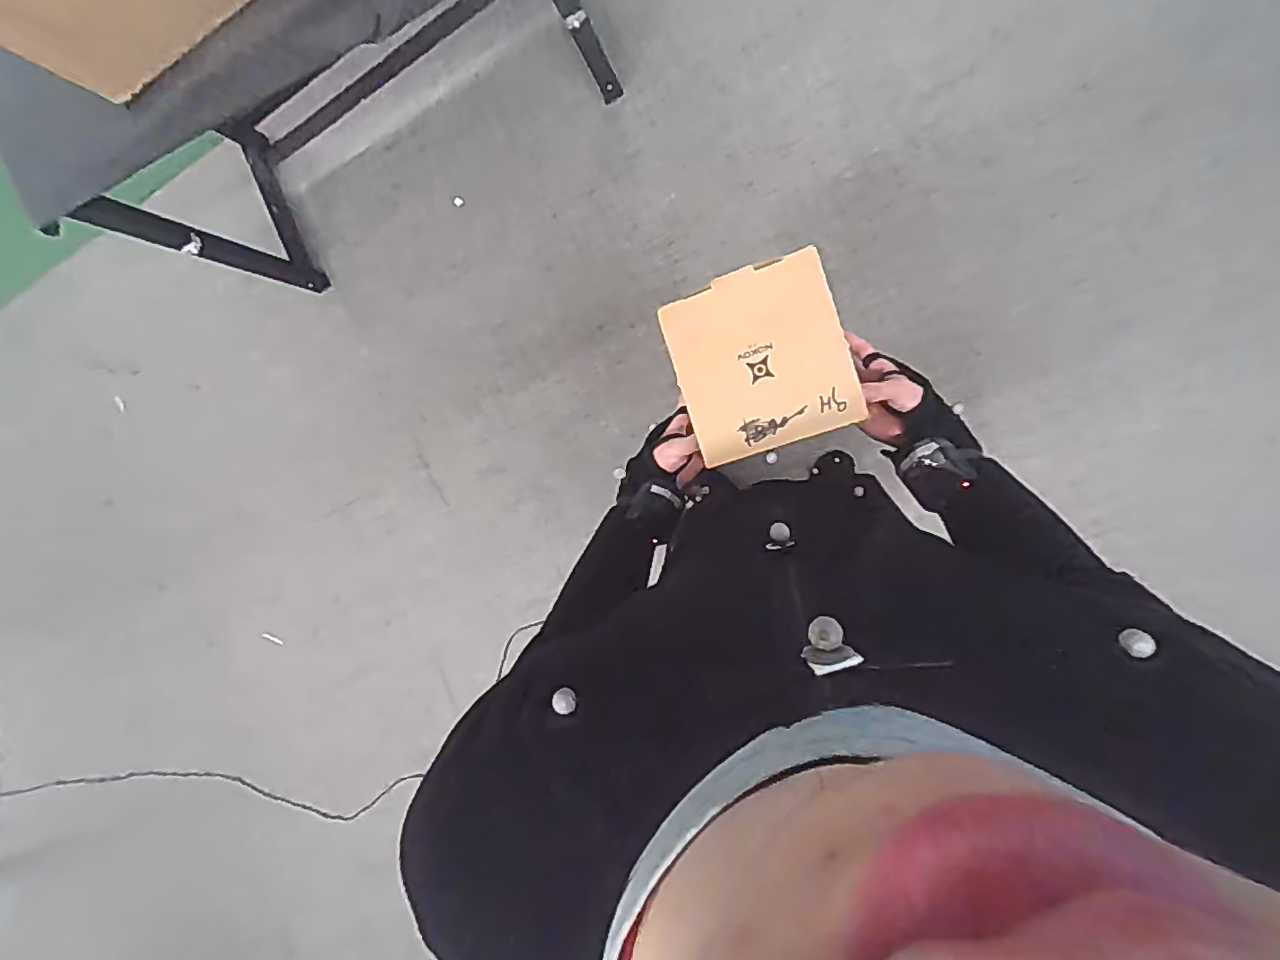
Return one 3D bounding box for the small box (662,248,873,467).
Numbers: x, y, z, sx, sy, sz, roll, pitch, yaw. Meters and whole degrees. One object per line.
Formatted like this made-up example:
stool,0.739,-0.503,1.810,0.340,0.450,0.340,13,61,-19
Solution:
small box,0.142,-0.123,0.610,0.168,0.176,0.179,-19,90,17
